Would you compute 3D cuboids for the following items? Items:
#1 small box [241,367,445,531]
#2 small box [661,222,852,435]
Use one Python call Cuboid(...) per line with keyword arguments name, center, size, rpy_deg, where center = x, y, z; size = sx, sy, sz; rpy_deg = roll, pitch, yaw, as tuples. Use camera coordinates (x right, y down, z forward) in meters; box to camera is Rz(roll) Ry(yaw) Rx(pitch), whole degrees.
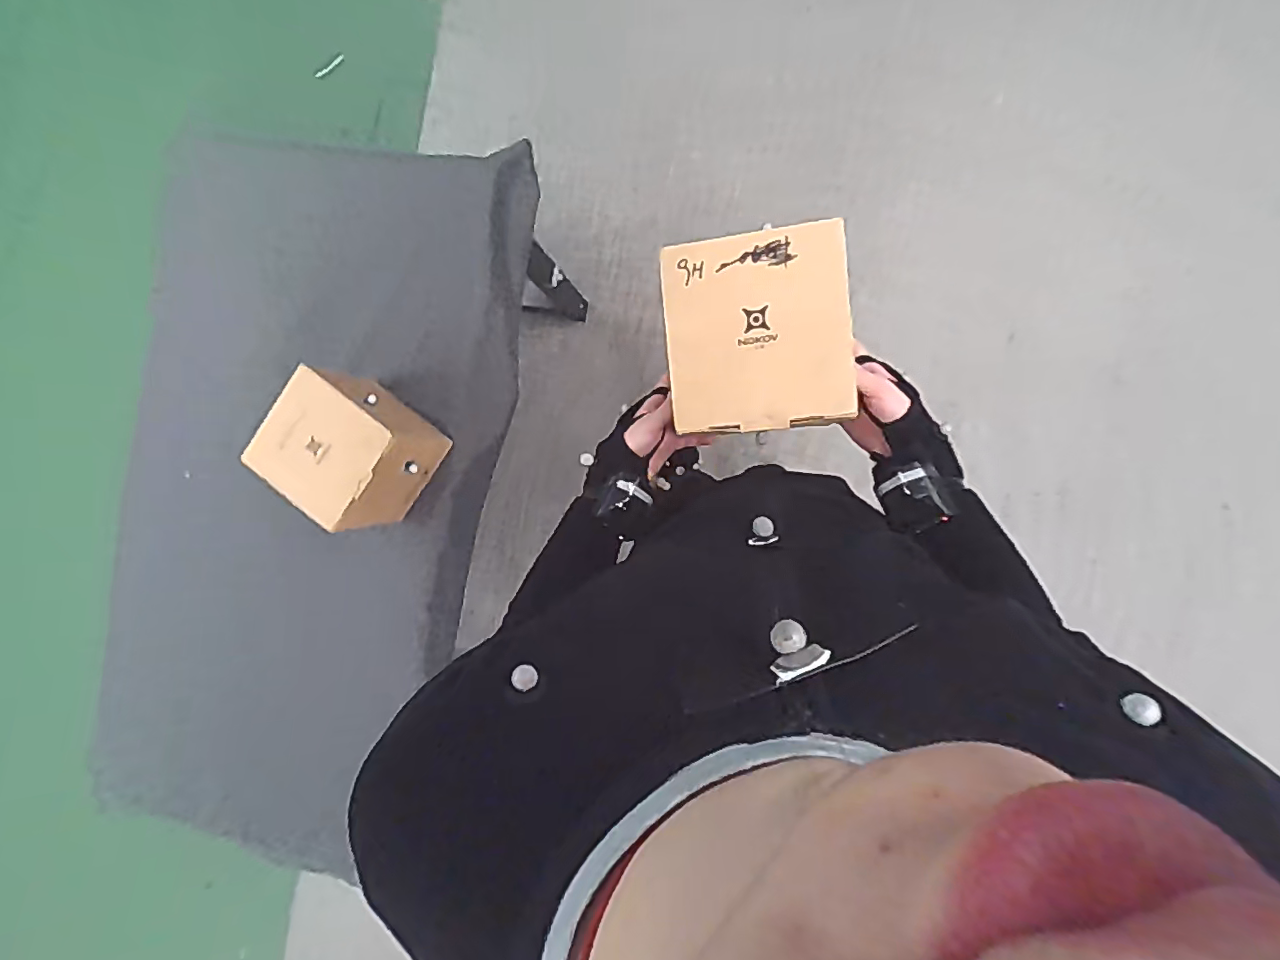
Cuboid(name="small box", center=(-0.435, -0.045, 0.821), size=(0.179, 0.176, 0.168), rpy_deg=(36, 95, 7))
Cuboid(name="small box", center=(0.117, -0.141, 0.567), size=(0.168, 0.176, 0.179), rpy_deg=(-4, 94, 9))
